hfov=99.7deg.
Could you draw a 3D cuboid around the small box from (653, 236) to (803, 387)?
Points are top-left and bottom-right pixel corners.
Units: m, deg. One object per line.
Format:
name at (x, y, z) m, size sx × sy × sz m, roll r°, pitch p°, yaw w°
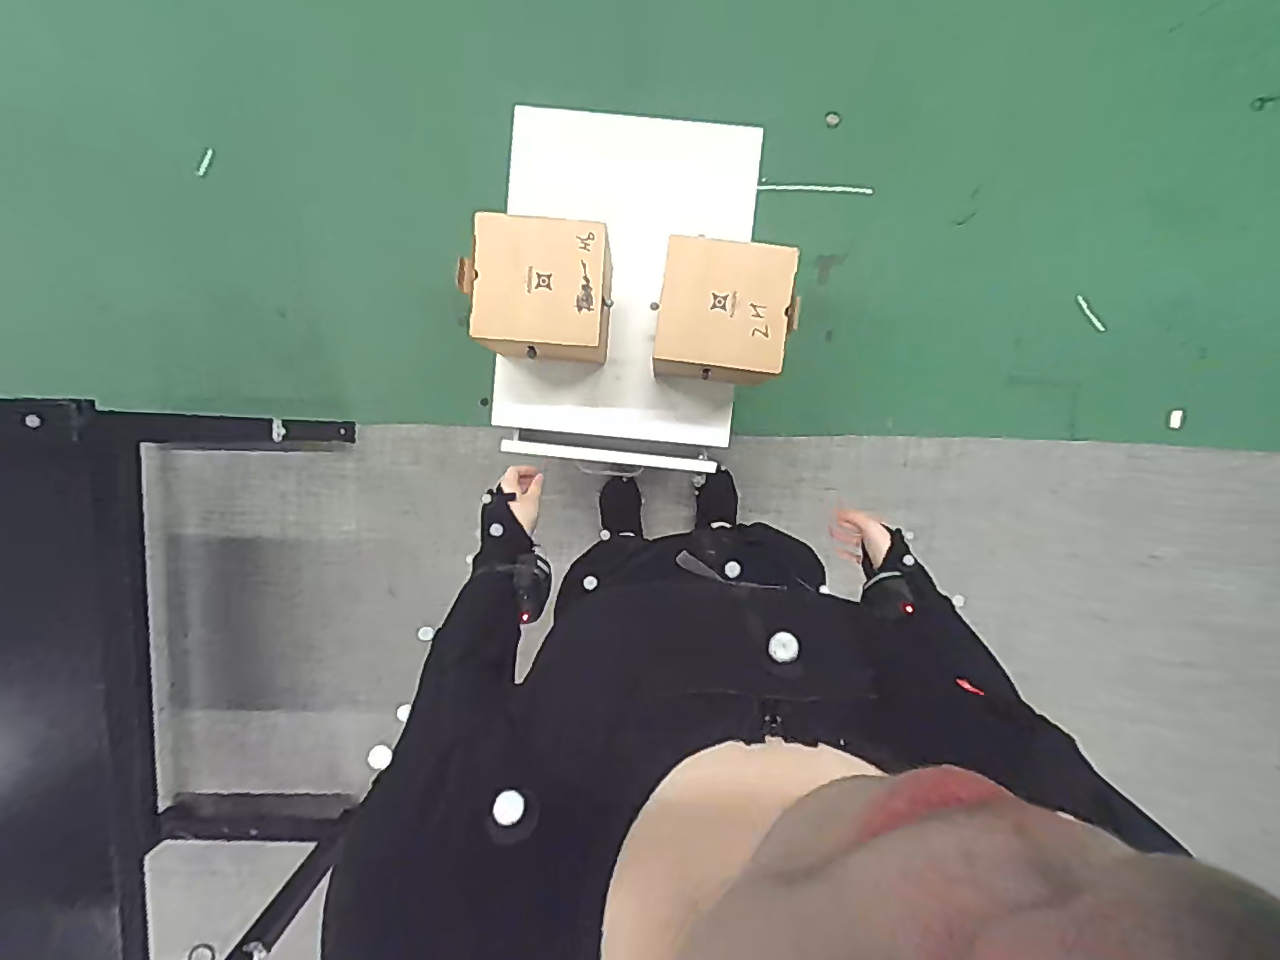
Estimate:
small box at (0.116, -0.231, 0.781) m, size 0.179 × 0.176 × 0.168 m, roll 7°, pitch 94°, yaw 1°
